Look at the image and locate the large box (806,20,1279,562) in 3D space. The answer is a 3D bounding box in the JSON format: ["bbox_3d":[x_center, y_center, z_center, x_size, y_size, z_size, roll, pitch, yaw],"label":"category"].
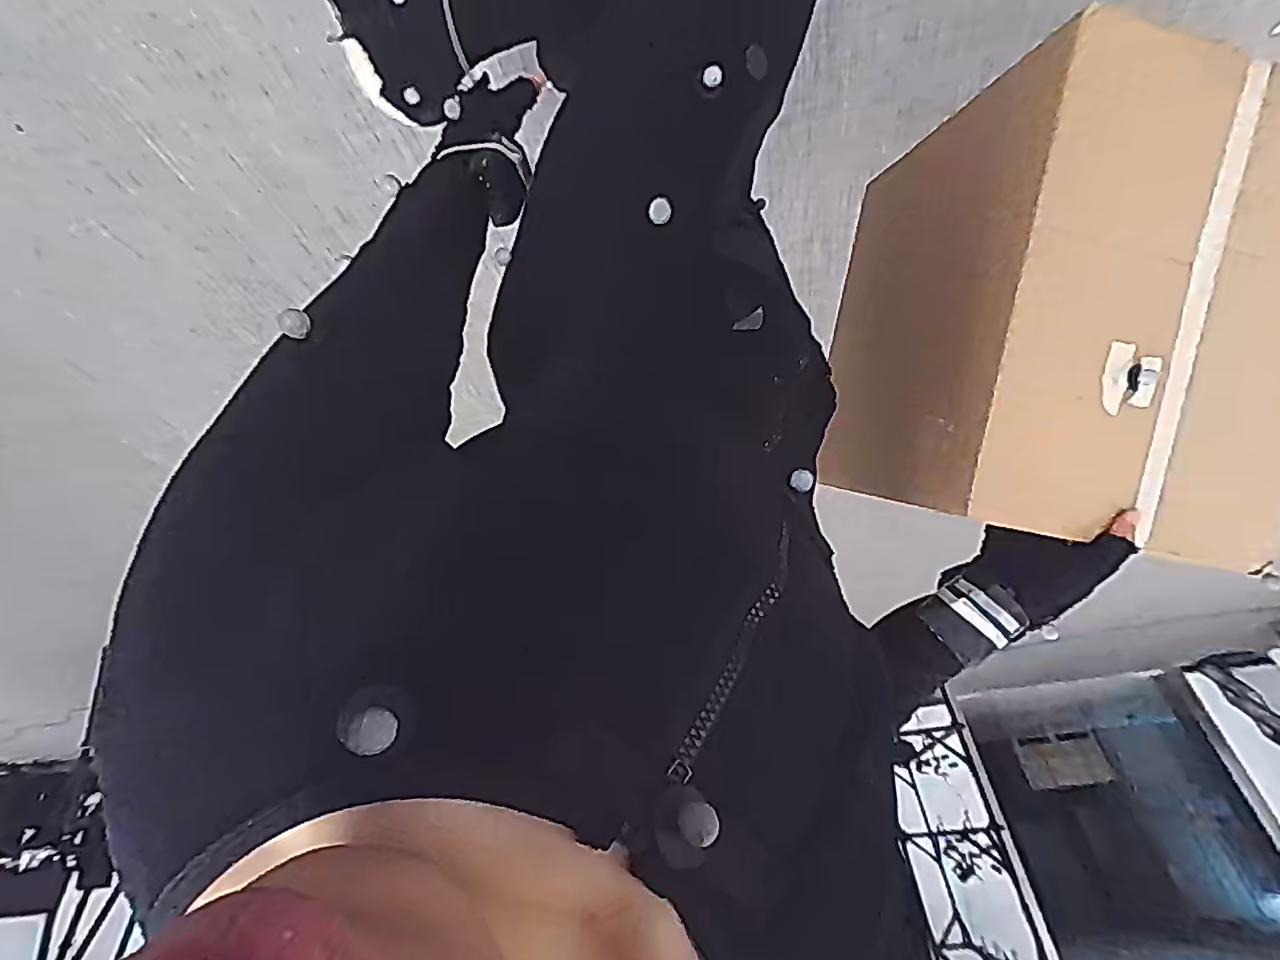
[{"bbox_3d":[0.423,-0.158,0.603,0.320,0.408,0.320,10,-175,-8],"label":"large box"}]
